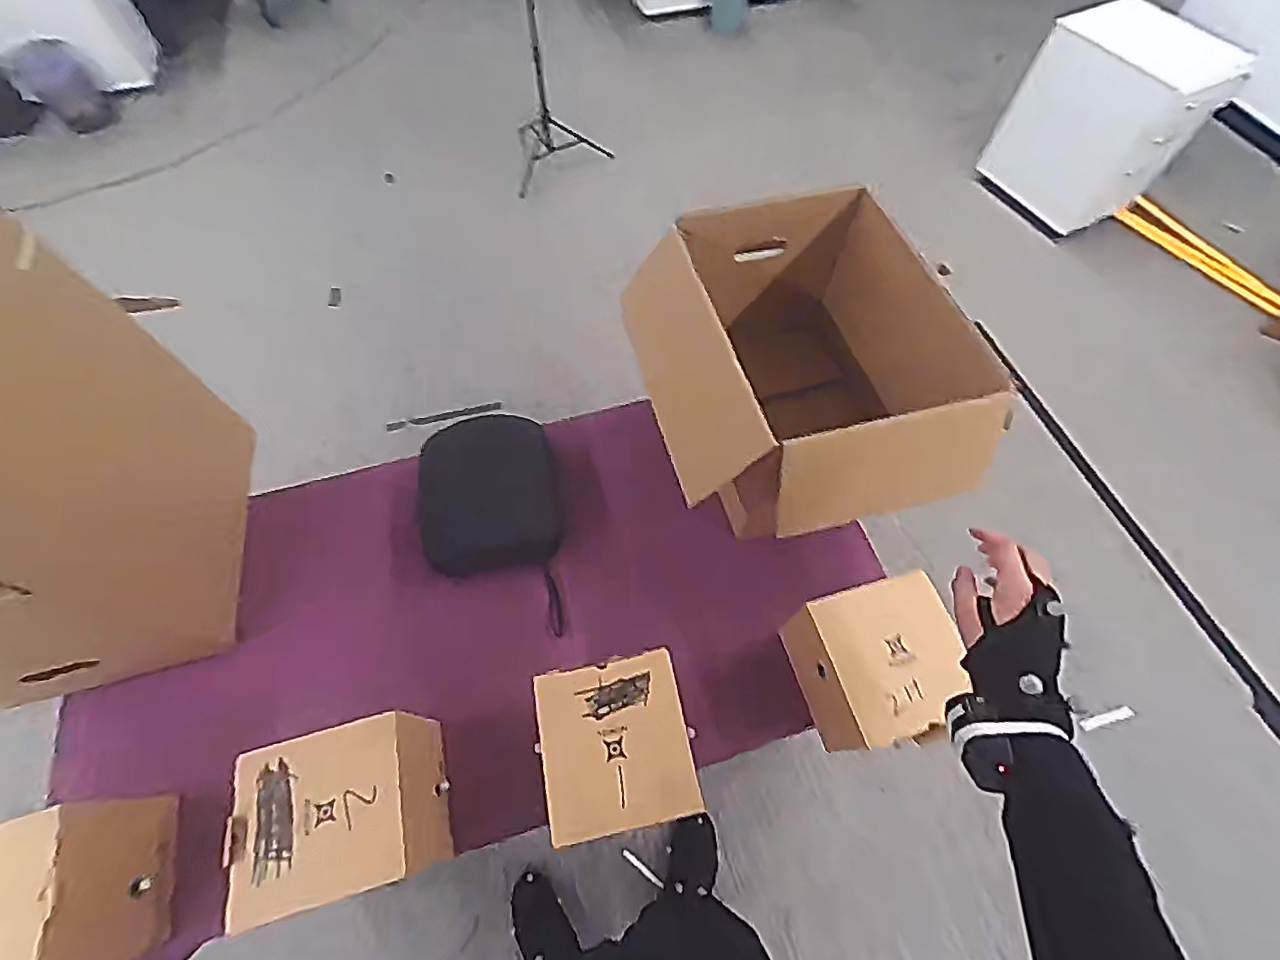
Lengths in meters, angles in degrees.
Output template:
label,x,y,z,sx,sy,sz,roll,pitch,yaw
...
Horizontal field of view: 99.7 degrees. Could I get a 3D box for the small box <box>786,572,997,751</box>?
label,x,y,z,sx,sy,sz,roll,pitch,yaw
small box,0.312,0.246,0.719,0.168,0.176,0.179,-14,63,-5

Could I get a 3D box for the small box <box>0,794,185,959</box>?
label,x,y,z,sx,sy,sz,roll,pitch,yaw
small box,-0.670,0.471,0.607,0.179,0.176,0.168,-15,63,-9

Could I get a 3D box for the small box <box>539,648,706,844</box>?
label,x,y,z,sx,sy,sz,roll,pitch,yaw
small box,-0.024,0.329,0.678,0.168,0.176,0.179,-12,63,-5
